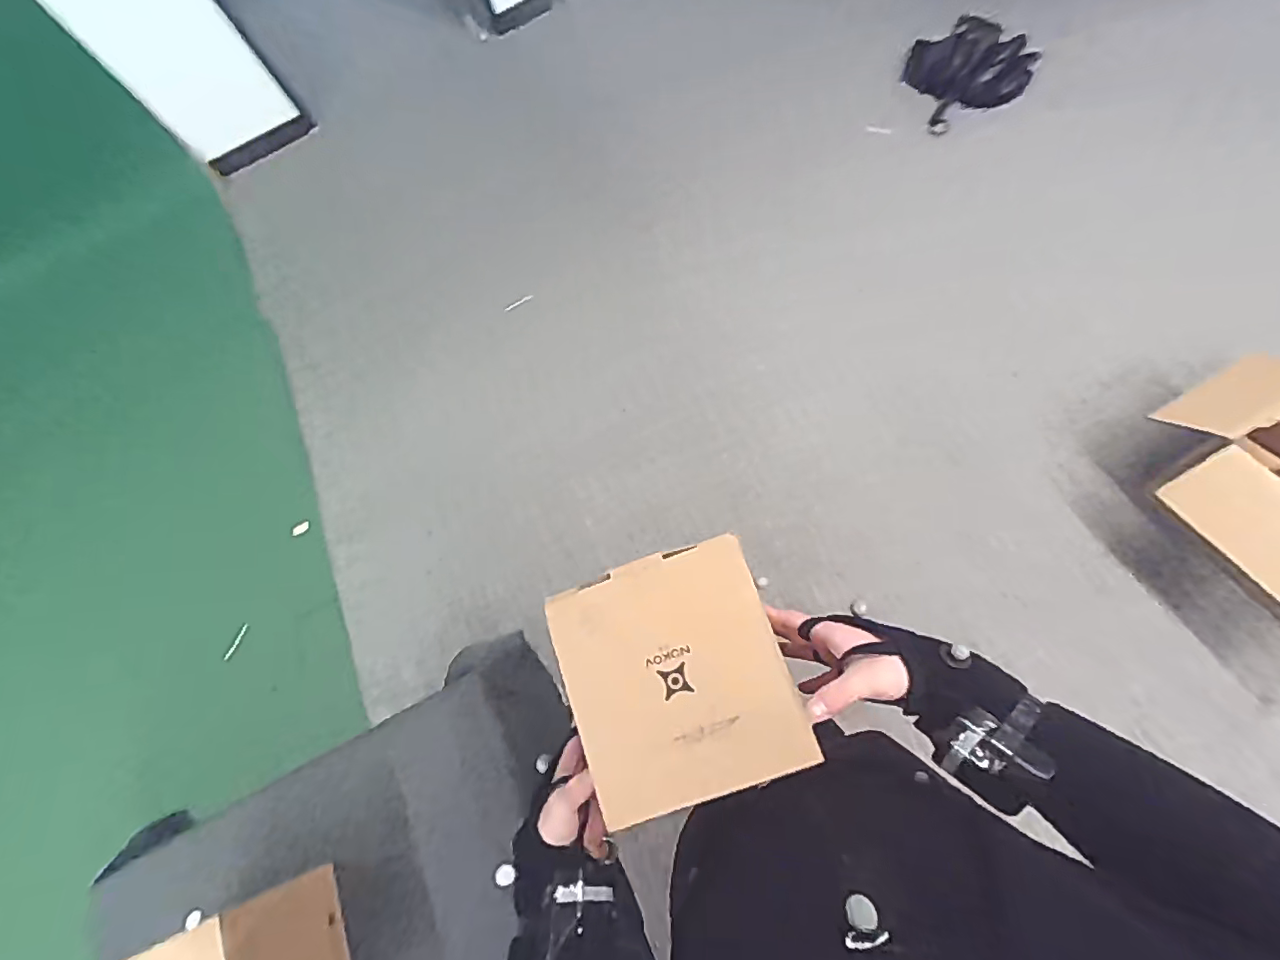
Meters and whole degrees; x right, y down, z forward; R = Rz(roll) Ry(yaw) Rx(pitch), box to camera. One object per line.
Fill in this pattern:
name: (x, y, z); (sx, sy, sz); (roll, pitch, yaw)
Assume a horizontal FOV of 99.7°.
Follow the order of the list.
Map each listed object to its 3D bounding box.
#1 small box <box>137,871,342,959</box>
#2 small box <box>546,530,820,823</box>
small box: (-0.458, 0.578, 0.598); (0.179, 0.176, 0.168); (-27, 68, -1)
small box: (0.038, 0.160, 0.481); (0.168, 0.176, 0.179); (-20, 76, 5)
